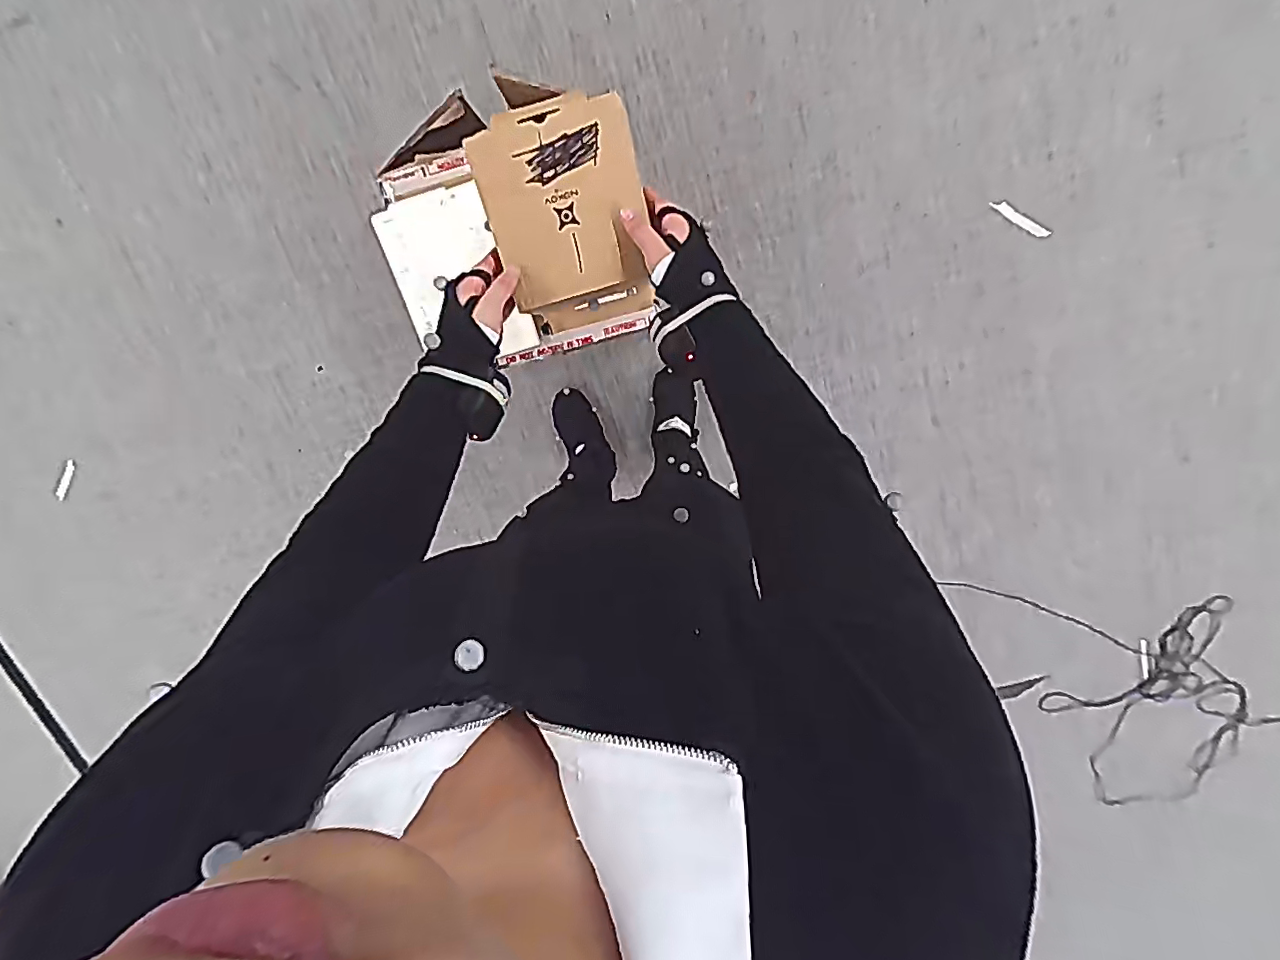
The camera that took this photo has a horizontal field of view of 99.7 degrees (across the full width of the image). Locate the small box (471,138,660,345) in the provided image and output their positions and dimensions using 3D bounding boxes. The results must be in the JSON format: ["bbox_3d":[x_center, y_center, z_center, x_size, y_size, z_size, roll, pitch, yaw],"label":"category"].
[{"bbox_3d":[-0.080,-0.271,0.652,0.168,0.176,0.179,-15,107,3],"label":"small box"}]
